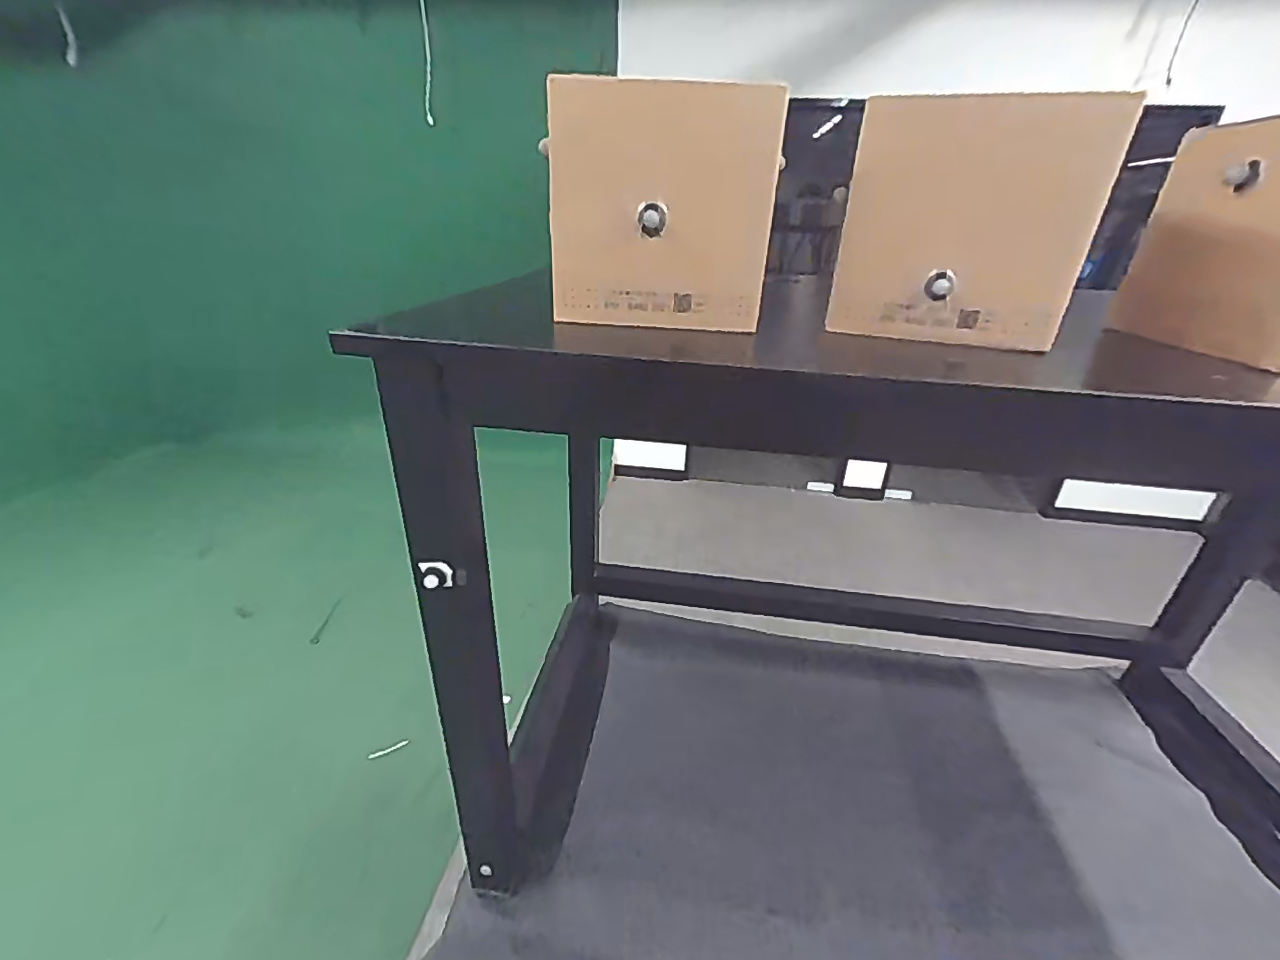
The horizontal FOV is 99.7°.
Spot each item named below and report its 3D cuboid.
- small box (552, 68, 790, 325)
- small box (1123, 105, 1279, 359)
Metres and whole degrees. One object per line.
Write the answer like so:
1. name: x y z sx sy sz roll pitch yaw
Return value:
1. small box: 0.026 -0.237 0.473 0.168 0.176 0.179 5 26 3
2. small box: 0.532 -0.181 0.404 0.168 0.176 0.179 3 26 2
